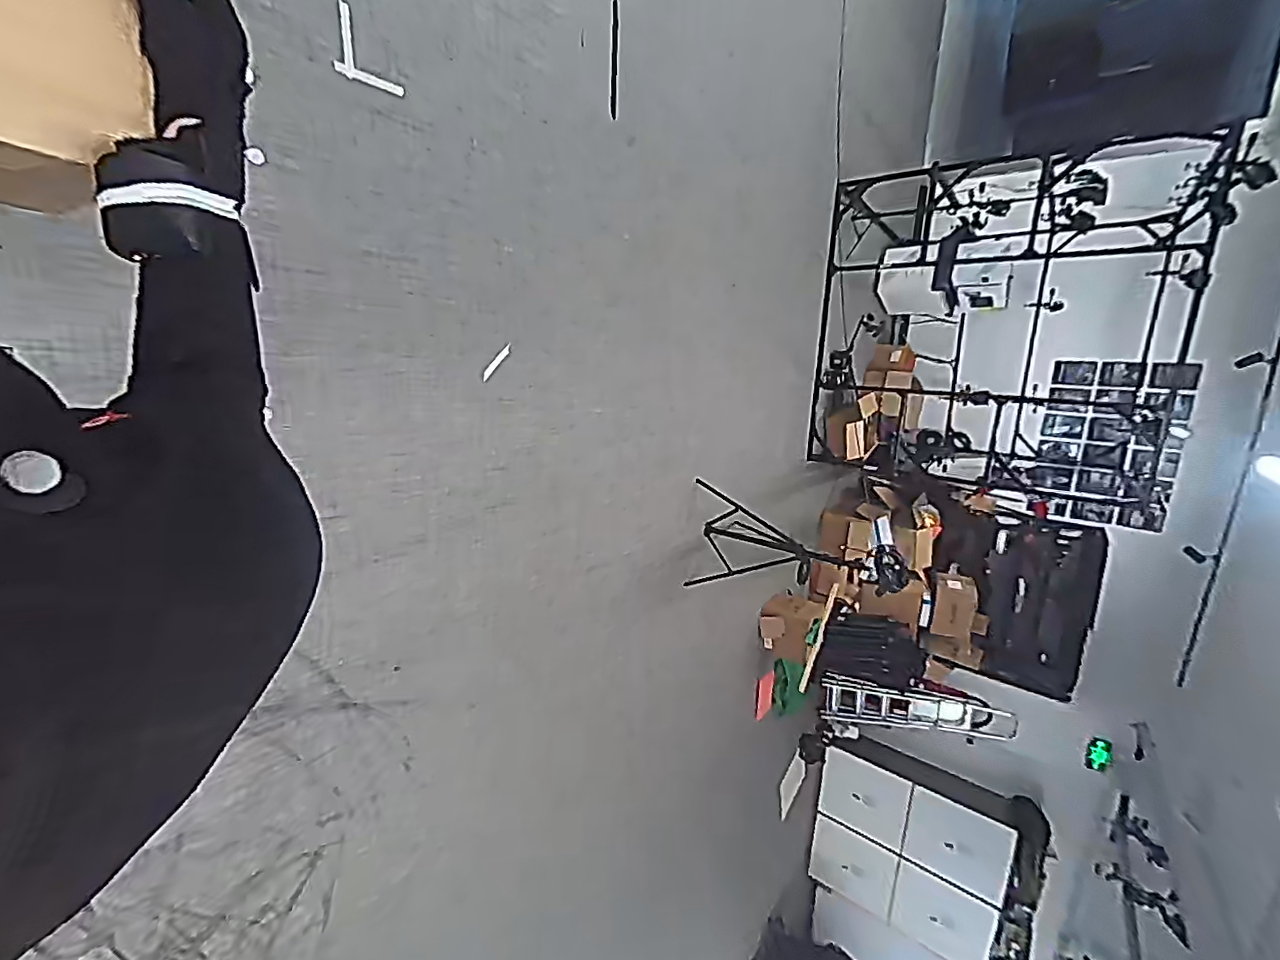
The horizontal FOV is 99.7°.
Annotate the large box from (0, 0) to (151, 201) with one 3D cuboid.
[{"bbox_3d":[-0.583,-0.389,0.293,0.408,0.320,0.320,-8,109,-56],"label":"large box"}]
